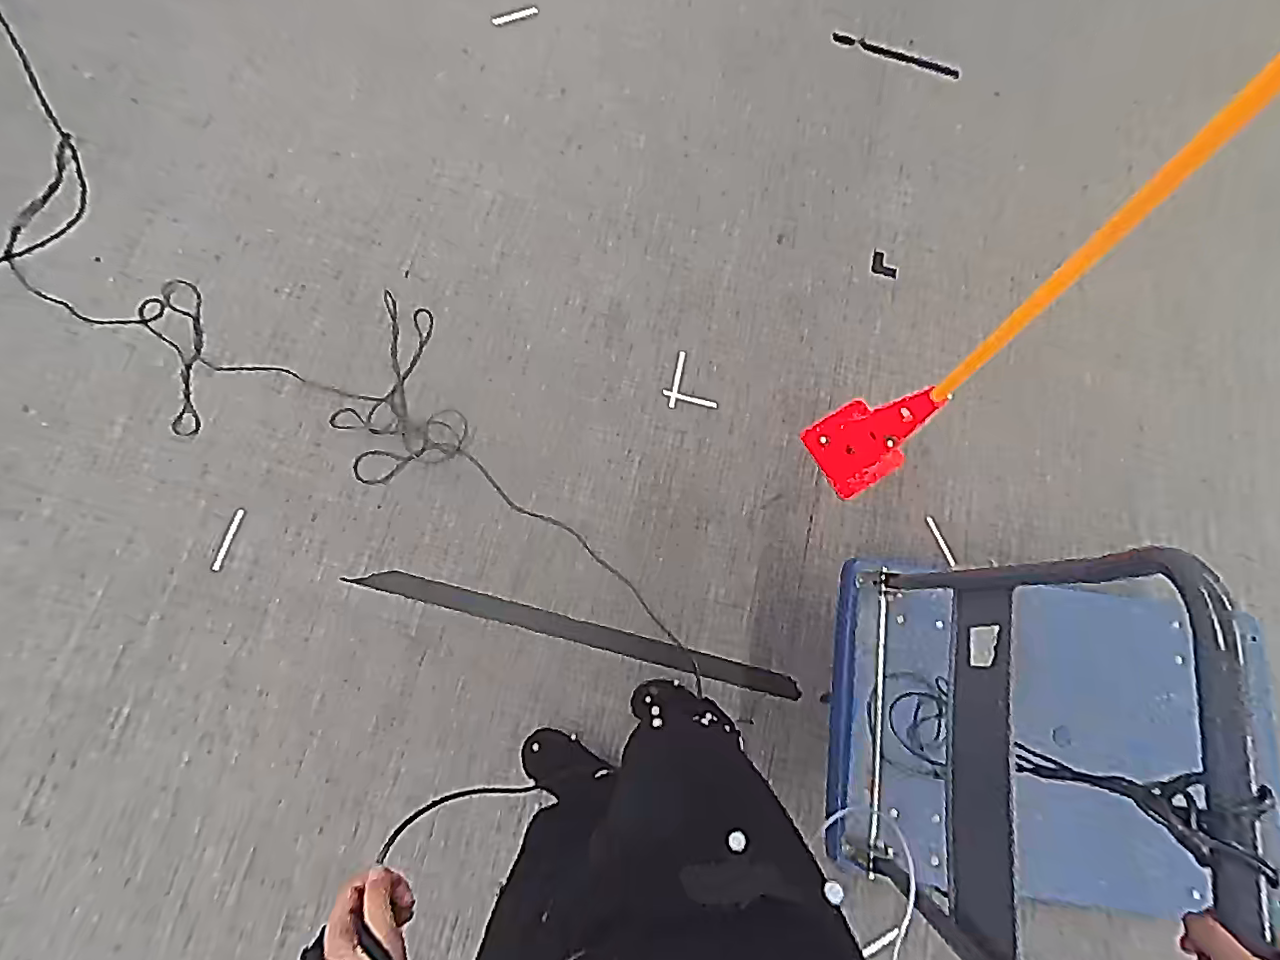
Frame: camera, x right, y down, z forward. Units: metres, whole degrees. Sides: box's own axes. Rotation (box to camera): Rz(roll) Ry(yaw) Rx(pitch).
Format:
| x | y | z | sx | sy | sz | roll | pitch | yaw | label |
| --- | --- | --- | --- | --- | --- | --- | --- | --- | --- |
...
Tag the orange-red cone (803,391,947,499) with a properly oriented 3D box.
| x | y | z | sx | sy | sz | roll | pitch | yaw | label |
| --- | --- | --- | --- | --- | --- | --- | --- | --- | --- |
| 0.534 | -0.110 | 1.159 | 0.198 | 0.360 | 0.199 | -29 | 82 | -9 | orange-red cone |
